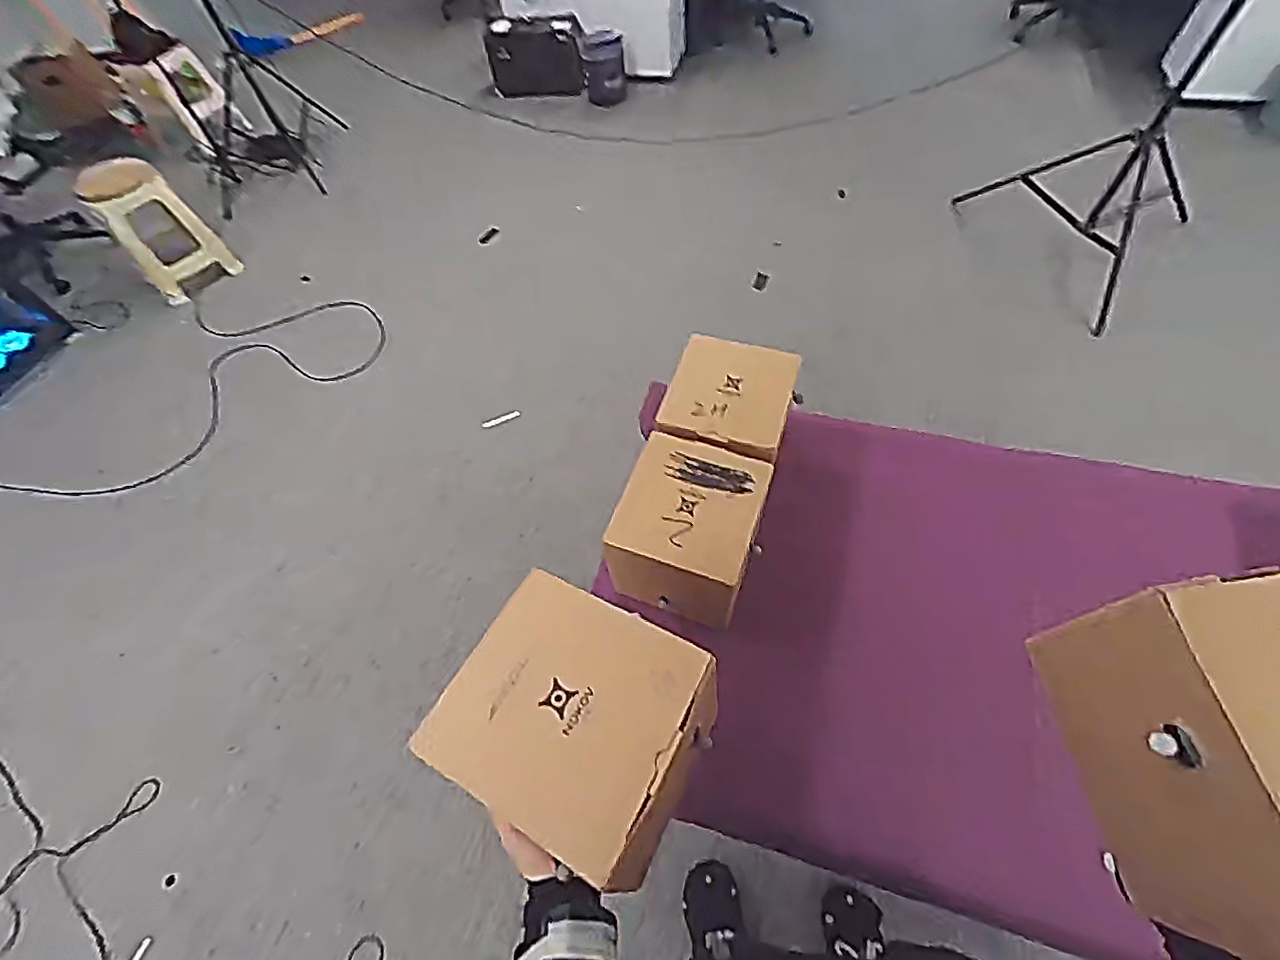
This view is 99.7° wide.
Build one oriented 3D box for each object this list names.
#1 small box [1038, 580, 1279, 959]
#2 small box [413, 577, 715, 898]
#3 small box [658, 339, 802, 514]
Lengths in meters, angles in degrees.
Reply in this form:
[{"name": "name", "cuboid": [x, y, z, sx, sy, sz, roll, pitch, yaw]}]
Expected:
[{"name": "small box", "cuboid": [0.377, 0.161, 0.310, 0.168, 0.176, 0.179, -10, 63, 8]}, {"name": "small box", "cuboid": [-0.046, 0.218, 0.467, 0.179, 0.176, 0.168, 20, 58, 23]}, {"name": "small box", "cuboid": [0.132, -0.078, 0.816, 0.168, 0.176, 0.179, 15, 60, 14]}]
